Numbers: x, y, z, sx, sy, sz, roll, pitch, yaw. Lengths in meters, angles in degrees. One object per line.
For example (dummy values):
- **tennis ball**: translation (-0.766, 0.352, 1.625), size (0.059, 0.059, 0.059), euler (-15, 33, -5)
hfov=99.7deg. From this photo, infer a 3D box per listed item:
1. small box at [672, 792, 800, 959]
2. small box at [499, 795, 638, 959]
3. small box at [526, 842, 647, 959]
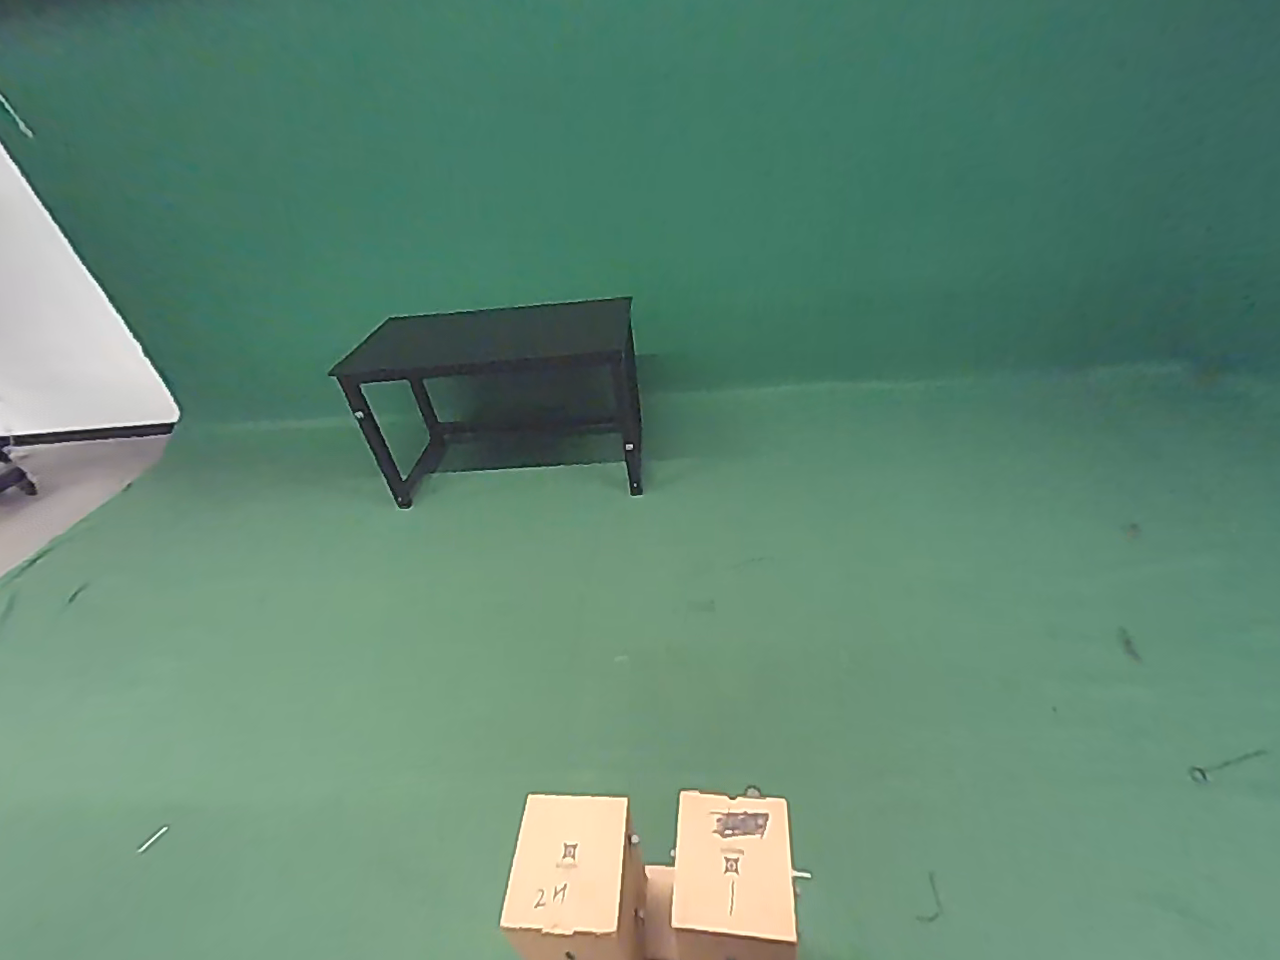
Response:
- **small box**: translation (0.143, 0.602, 0.806), size (0.168, 0.176, 0.179), euler (-2, 37, 11)
- **small box**: translation (-0.096, 0.618, 0.834), size (0.168, 0.176, 0.179), euler (-2, 36, 7)
- **small box**: translation (-0.081, 0.750, 0.932), size (0.168, 0.176, 0.179), euler (-1, 36, 8)
